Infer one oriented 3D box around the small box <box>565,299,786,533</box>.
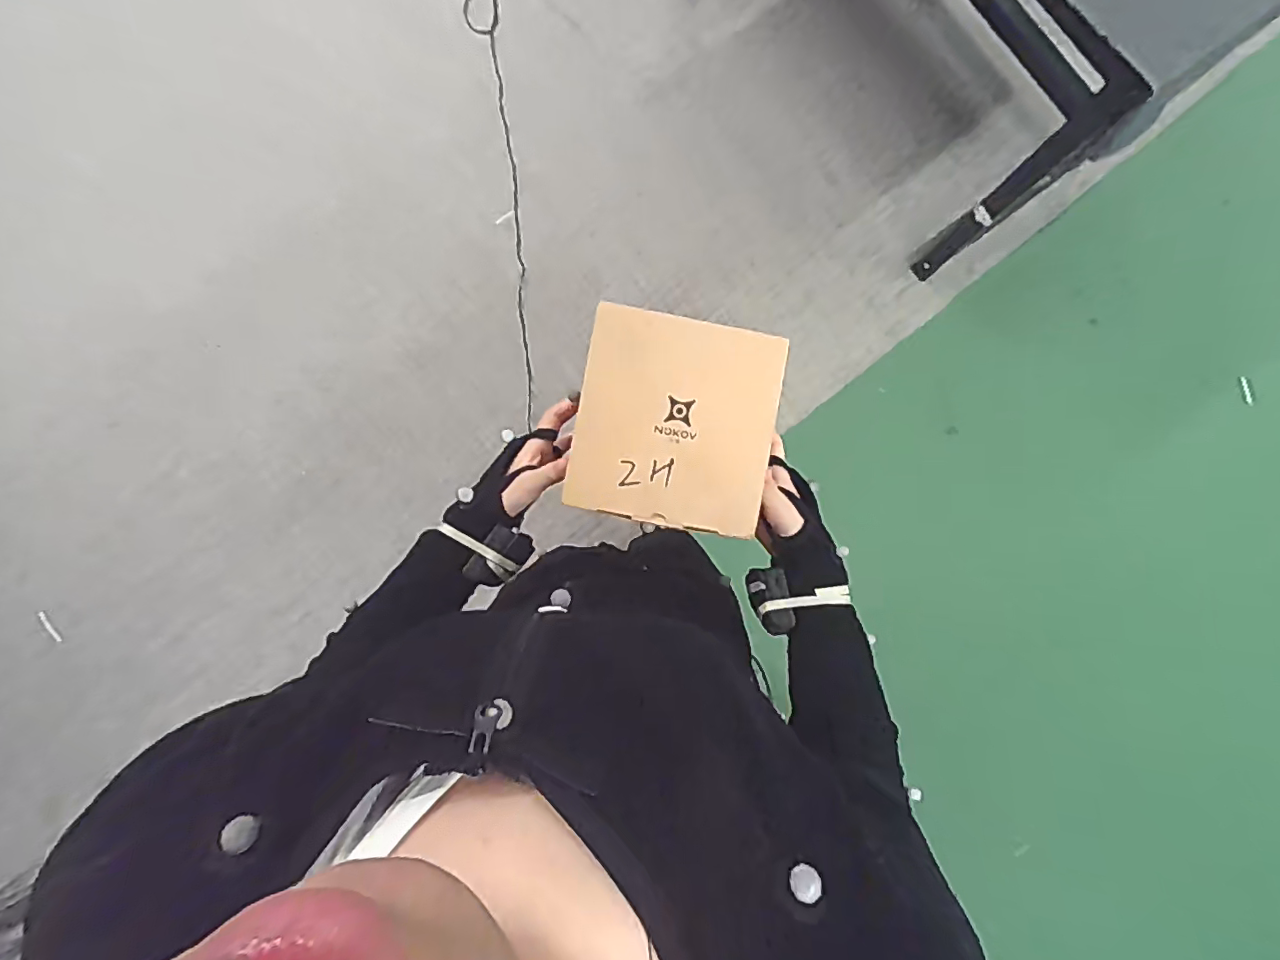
[{"bbox_3d":[0.028,-0.052,0.533,0.168,0.176,0.179,10,88,-2],"label":"small box"}]
